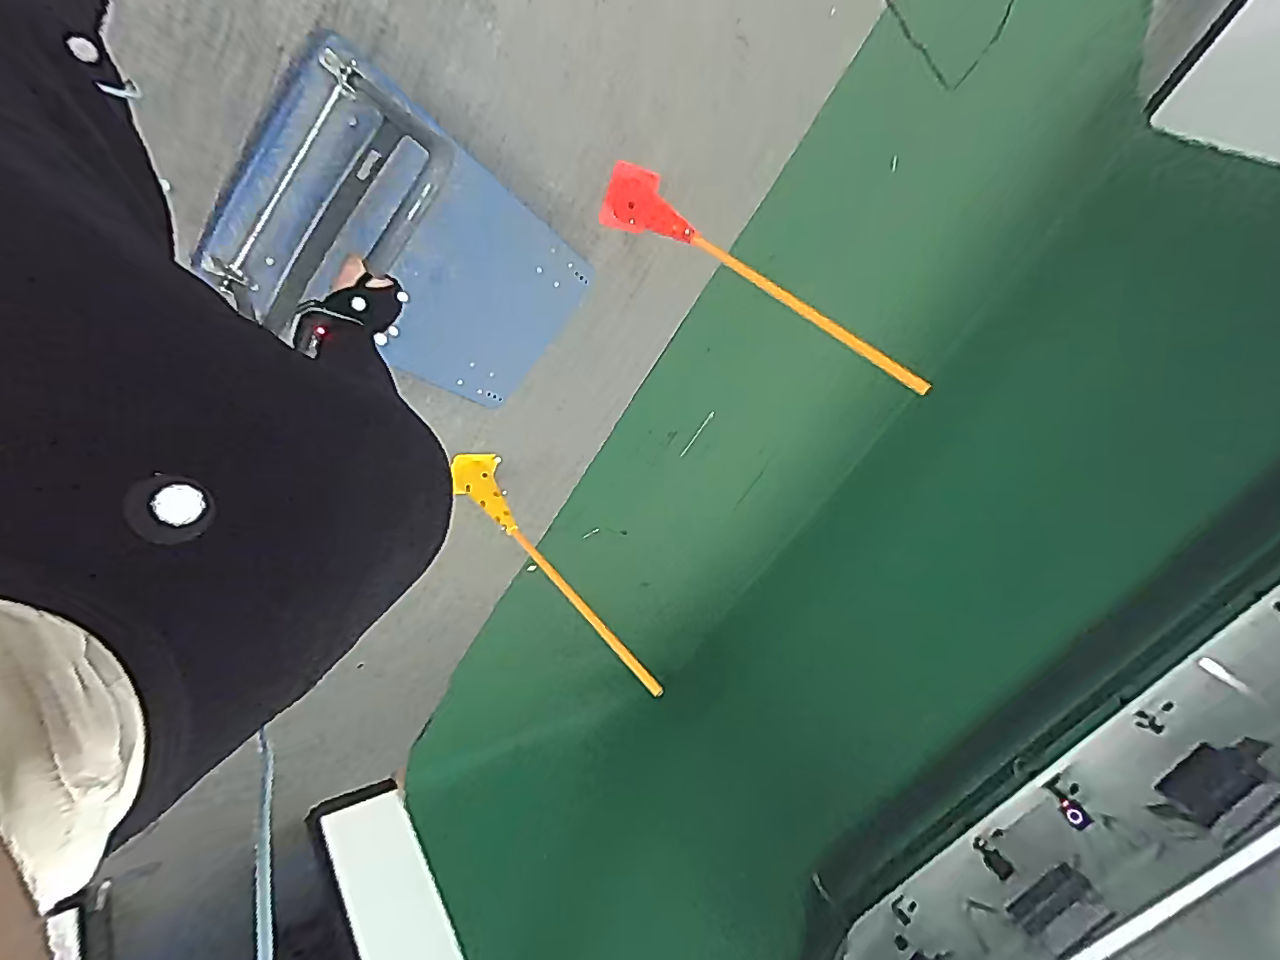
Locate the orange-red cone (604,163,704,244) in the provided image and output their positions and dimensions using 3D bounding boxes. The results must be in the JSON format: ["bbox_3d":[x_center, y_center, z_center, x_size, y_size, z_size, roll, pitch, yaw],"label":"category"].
[{"bbox_3d":[0.077,-0.846,1.741,0.198,0.360,0.199,-8,132,-44],"label":"orange-red cone"}]
